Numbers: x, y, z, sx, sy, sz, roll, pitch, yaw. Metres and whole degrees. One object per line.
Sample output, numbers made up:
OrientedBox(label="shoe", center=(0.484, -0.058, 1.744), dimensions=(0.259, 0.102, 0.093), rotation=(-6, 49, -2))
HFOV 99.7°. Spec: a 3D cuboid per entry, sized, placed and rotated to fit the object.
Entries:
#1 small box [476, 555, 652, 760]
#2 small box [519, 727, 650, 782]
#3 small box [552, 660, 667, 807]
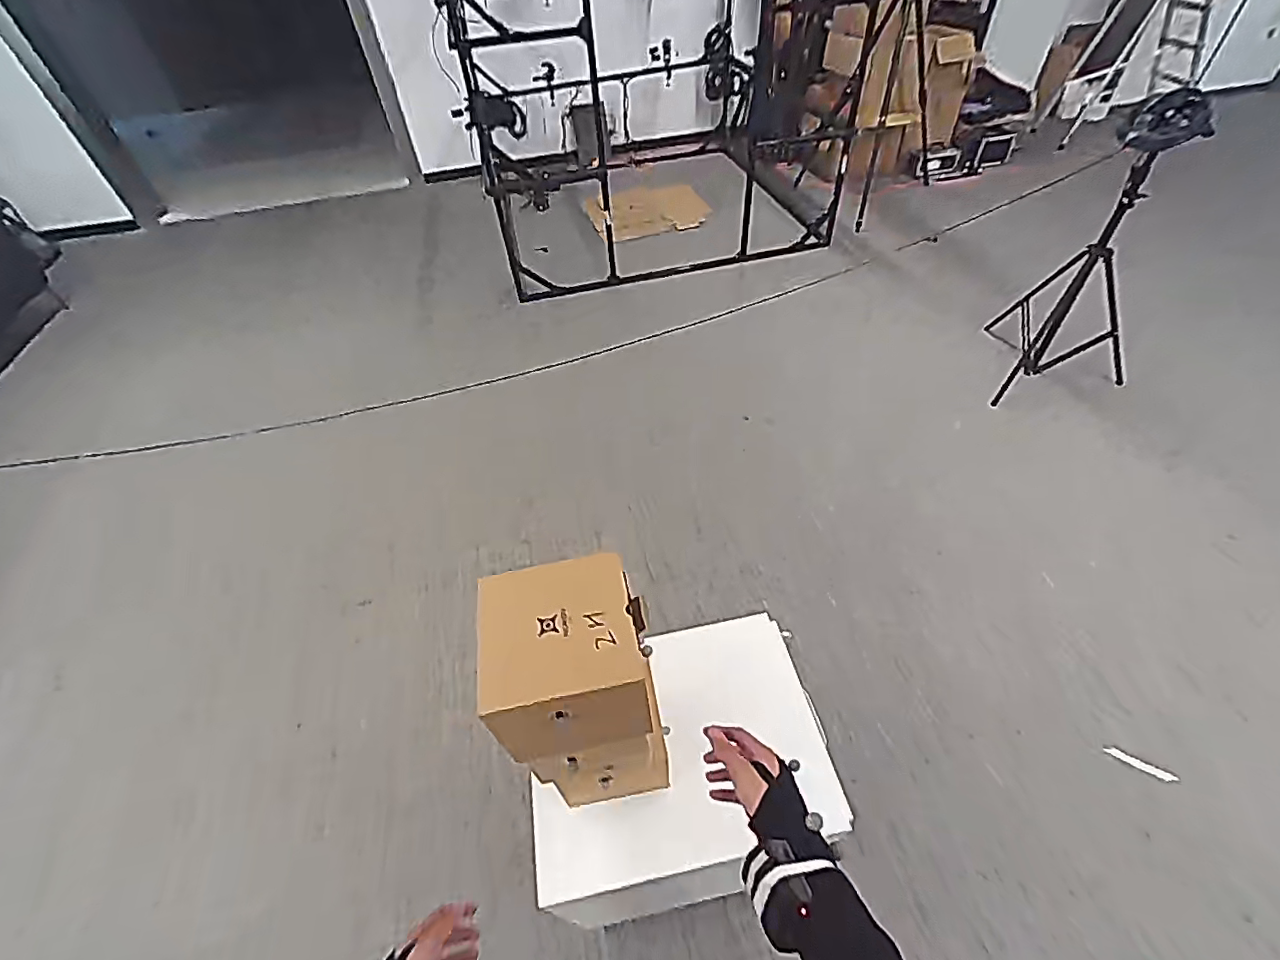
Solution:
OrientedBox(label="small box", center=(-0.088, 0.219, 0.658), dimensions=(0.179, 0.176, 0.168), rotation=(-10, 47, -5))
OrientedBox(label="small box", center=(-0.080, 0.321, 0.788), dimensions=(0.168, 0.176, 0.179), rotation=(-8, 47, -3))
OrientedBox(label="small box", center=(-0.053, 0.428, 0.908), dimensions=(0.179, 0.176, 0.168), rotation=(-8, 47, -5))
